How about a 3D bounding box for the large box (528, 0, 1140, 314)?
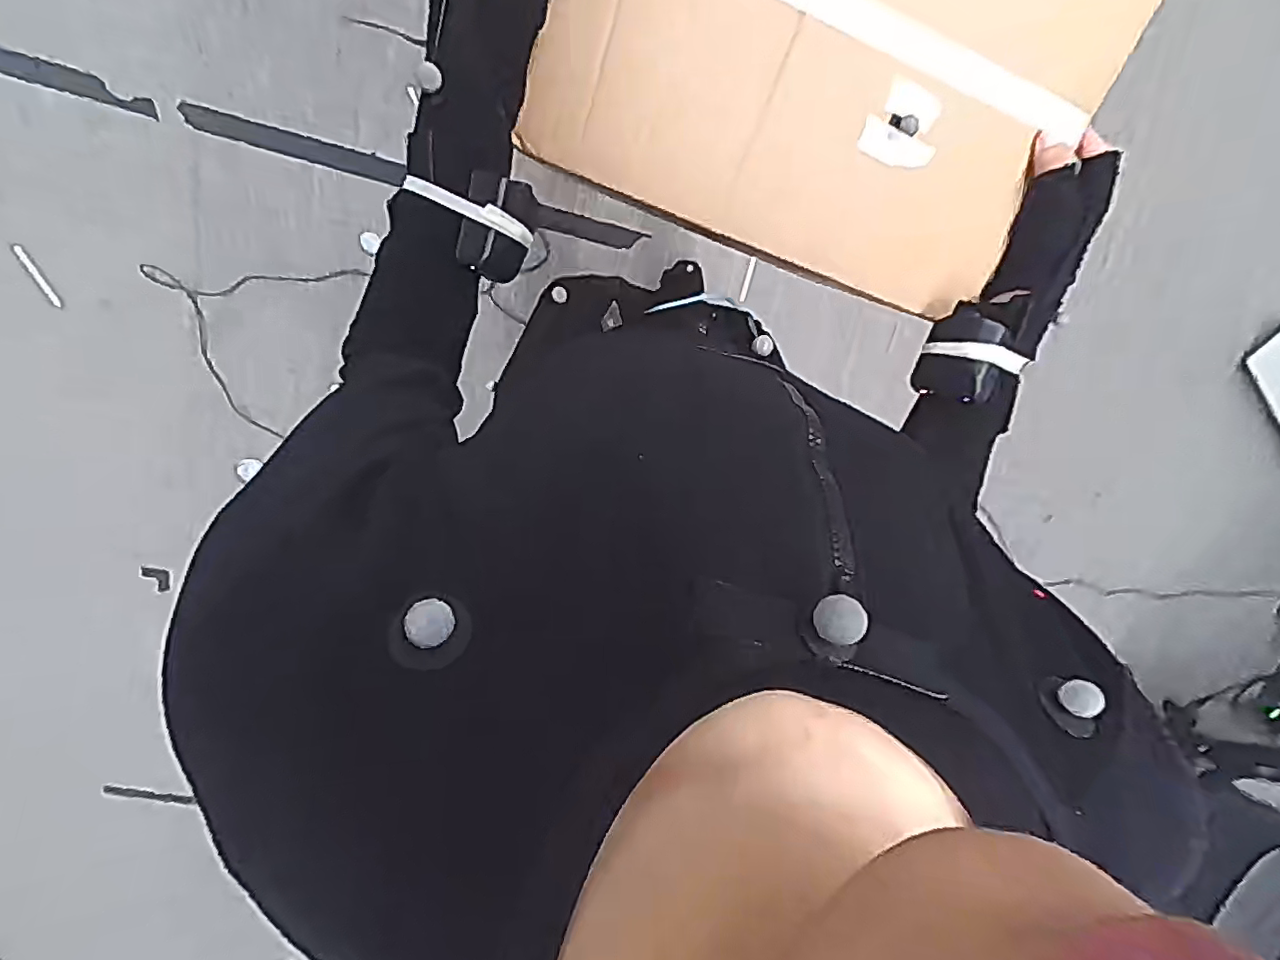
[{"bbox_3d":[0.134,-0.395,0.518,0.408,0.320,0.320,16,116,-13],"label":"large box"}]
